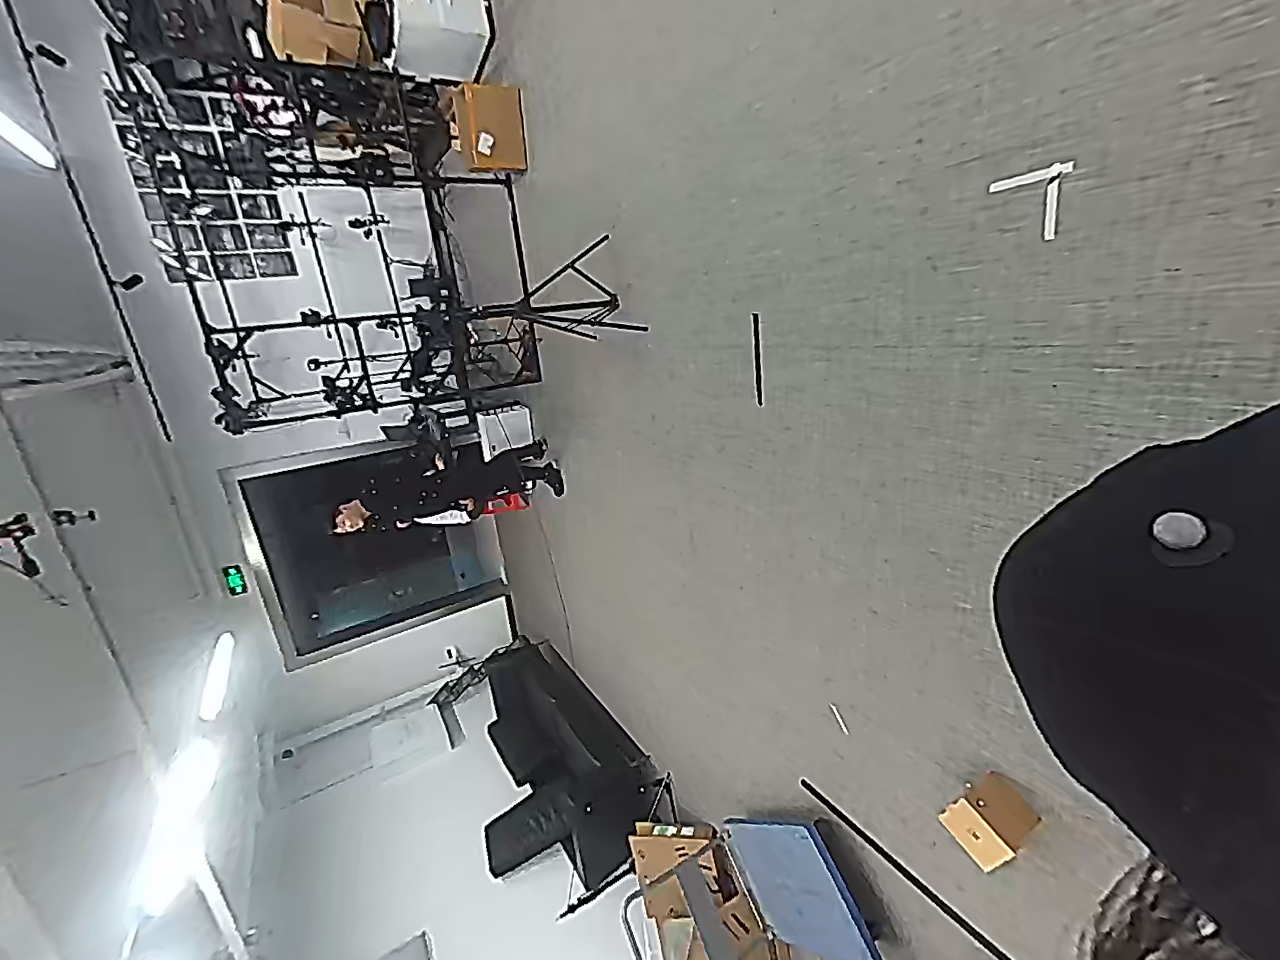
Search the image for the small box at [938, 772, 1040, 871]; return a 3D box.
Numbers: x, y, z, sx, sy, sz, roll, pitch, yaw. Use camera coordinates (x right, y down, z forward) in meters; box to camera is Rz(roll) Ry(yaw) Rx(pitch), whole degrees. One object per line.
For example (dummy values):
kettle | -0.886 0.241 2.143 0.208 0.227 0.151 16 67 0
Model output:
small box | 1.076 1.048 1.667 0.179 0.176 0.168 50 144 39
